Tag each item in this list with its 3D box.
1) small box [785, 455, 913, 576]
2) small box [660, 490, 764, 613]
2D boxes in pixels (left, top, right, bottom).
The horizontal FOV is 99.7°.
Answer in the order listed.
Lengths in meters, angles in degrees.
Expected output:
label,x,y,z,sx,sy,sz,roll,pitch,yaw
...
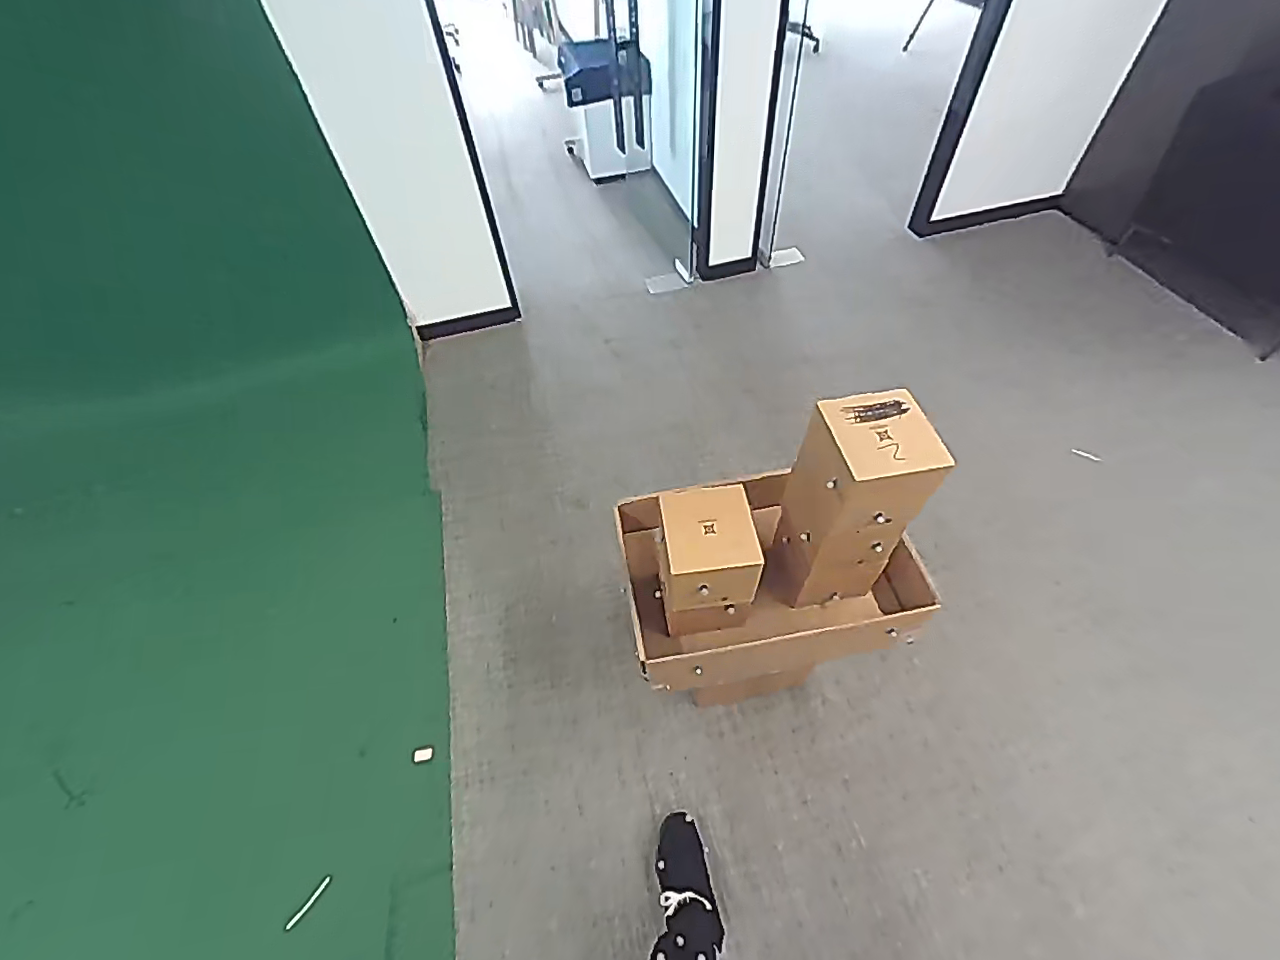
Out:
label,x,y,z,sx,sy,sz,roll,pitch,yaw
small box,0.403,0.078,1.076,0.168,0.176,0.179,-9,52,-4
small box,0.133,0.146,1.045,0.168,0.176,0.179,-7,52,-1
